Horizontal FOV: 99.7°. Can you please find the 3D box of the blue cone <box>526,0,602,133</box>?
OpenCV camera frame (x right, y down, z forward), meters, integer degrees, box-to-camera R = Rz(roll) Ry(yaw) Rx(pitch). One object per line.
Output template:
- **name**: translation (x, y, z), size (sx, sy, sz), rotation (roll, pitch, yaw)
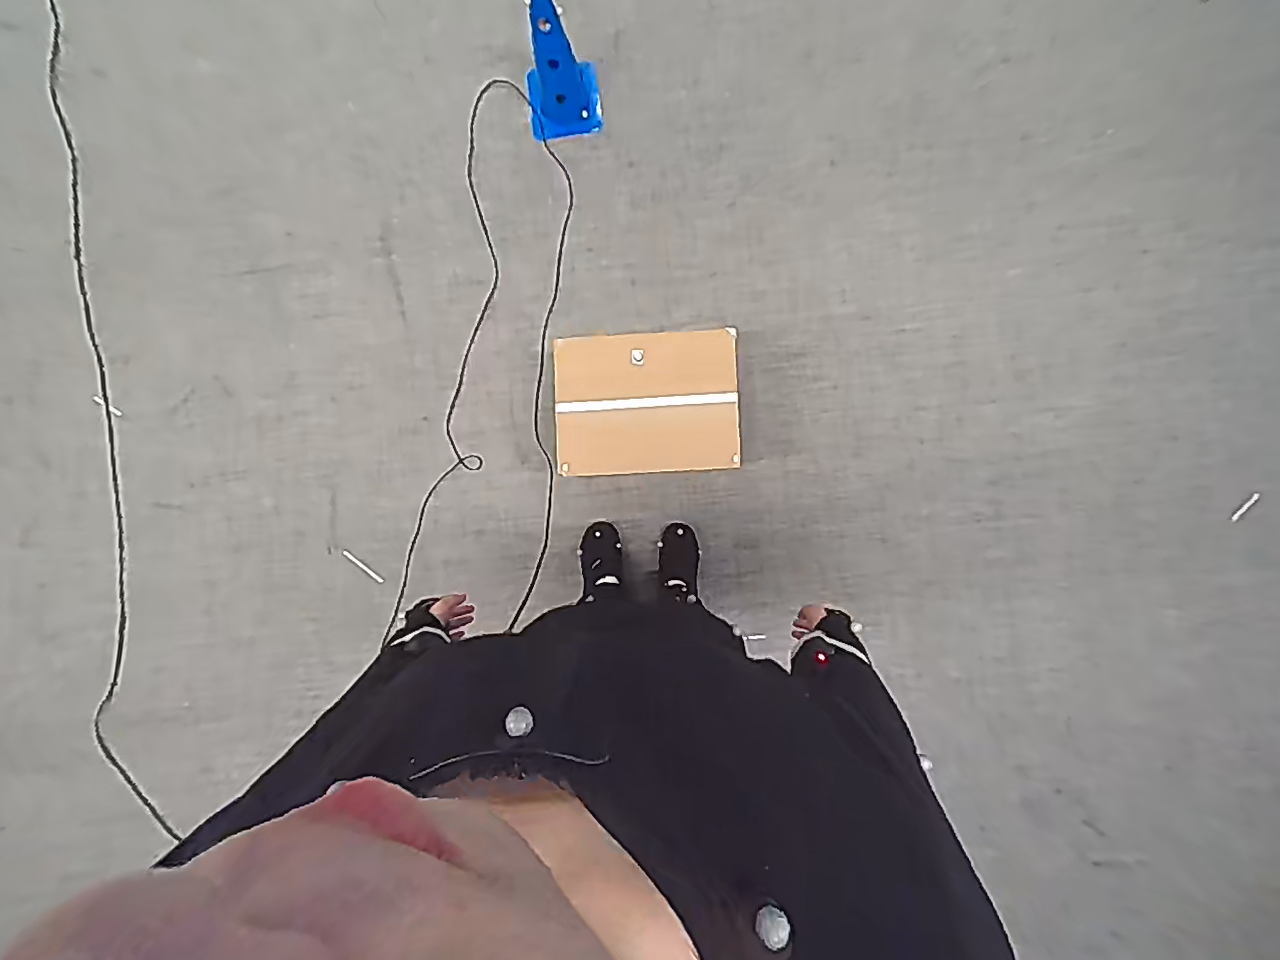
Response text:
- **blue cone**: translation (-0.211, -1.056, 1.314), size (0.193, 0.380, 0.192), rotation (-9, 90, 0)
